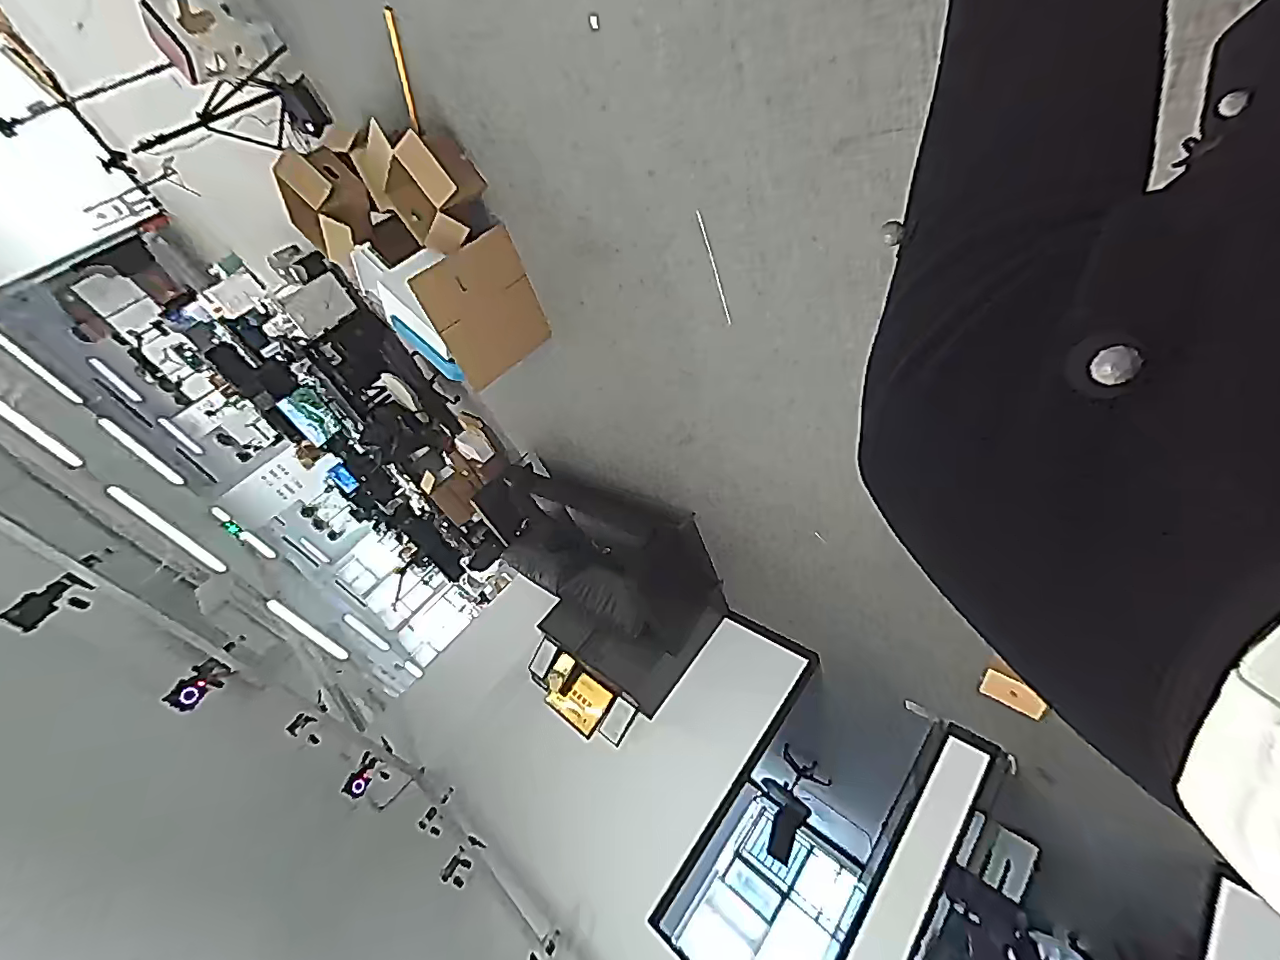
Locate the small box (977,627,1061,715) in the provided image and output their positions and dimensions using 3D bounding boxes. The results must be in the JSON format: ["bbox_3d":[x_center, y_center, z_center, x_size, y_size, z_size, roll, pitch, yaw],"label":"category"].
[{"bbox_3d":[1.196,0.596,1.705,0.168,0.176,0.179,23,149,36],"label":"small box"}]
